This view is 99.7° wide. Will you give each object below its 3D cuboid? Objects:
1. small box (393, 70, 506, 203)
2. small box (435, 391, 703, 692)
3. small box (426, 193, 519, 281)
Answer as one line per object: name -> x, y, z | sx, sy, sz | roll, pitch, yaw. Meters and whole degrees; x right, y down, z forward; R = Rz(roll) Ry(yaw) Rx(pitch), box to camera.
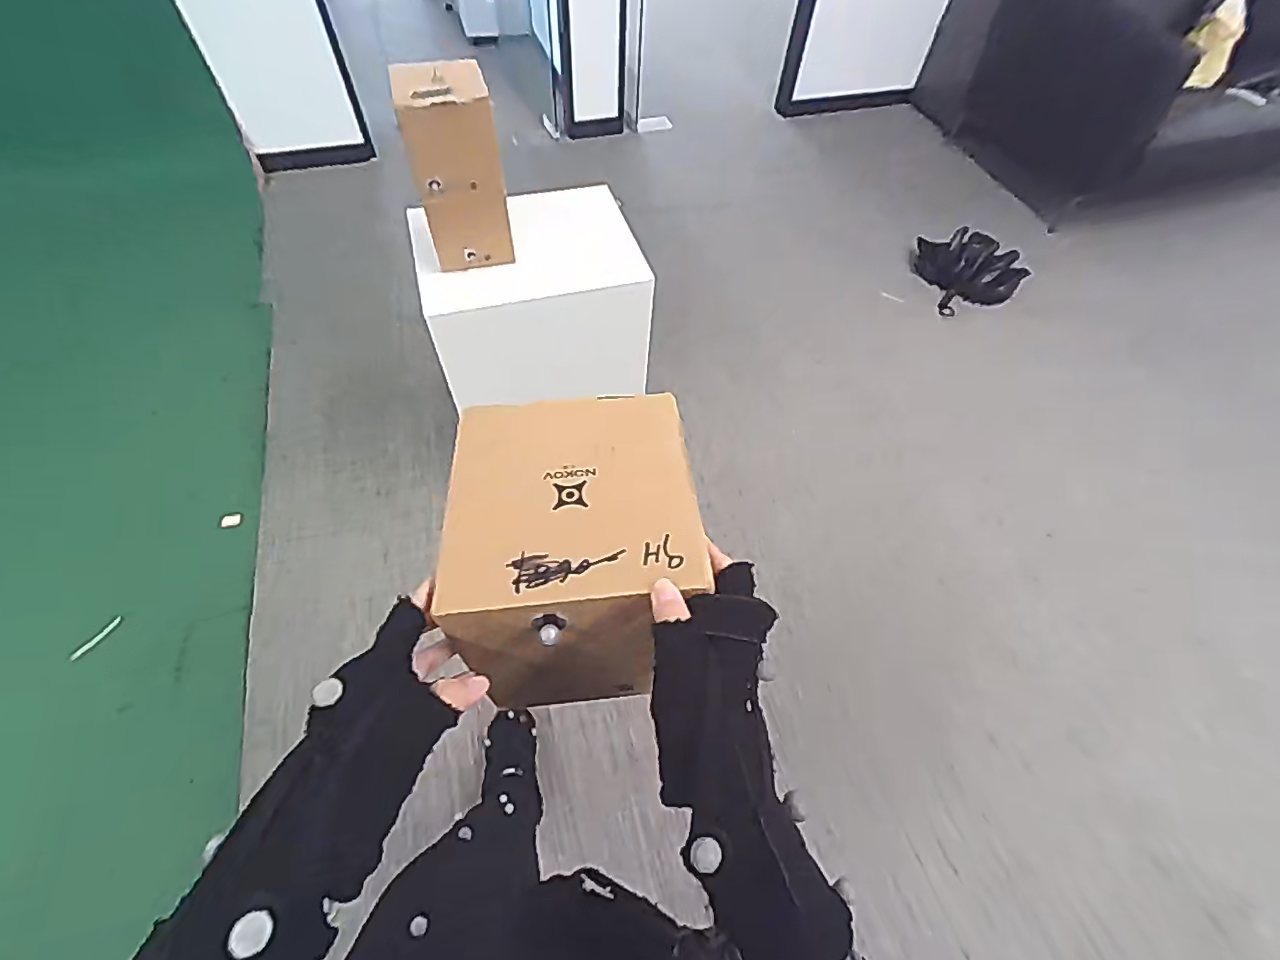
small box -> -0.367, -0.663, 1.058 | 0.168, 0.176, 0.179 | -13, 58, -11
small box -> -0.047, 0.051, 0.440 | 0.168, 0.176, 0.179 | -5, 49, -2
small box -> -0.374, -0.572, 1.195 | 0.168, 0.176, 0.179 | -15, 60, -12
